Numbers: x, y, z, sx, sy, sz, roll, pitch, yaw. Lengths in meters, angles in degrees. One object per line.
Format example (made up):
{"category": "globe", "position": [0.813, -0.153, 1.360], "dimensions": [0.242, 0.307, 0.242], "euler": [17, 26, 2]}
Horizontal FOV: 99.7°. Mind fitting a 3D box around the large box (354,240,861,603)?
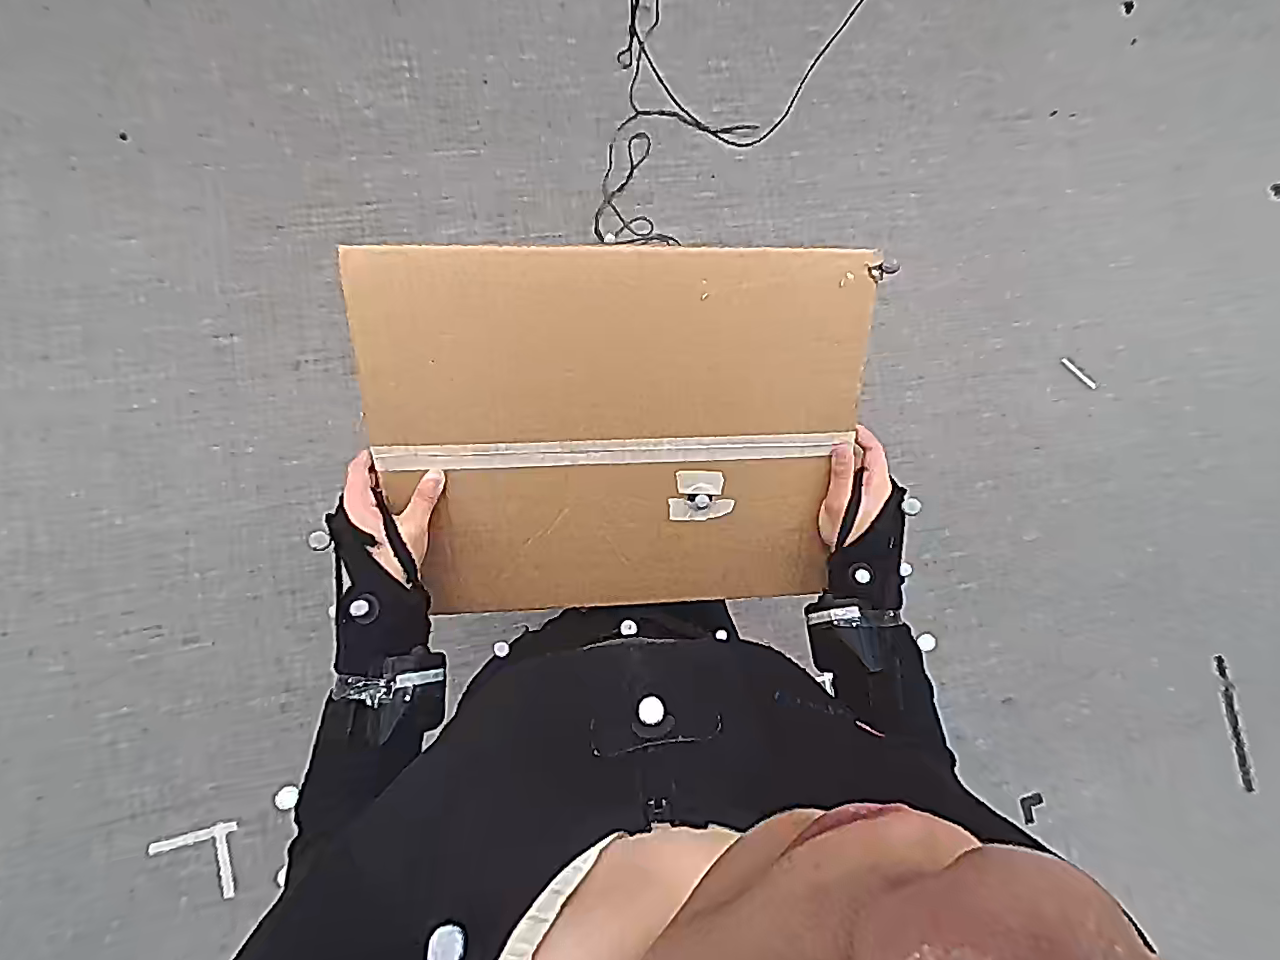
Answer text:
{"category": "large box", "position": [-0.033, -0.092, 0.610], "dimensions": [0.408, 0.320, 0.320], "euler": [-3, 113, -7]}
